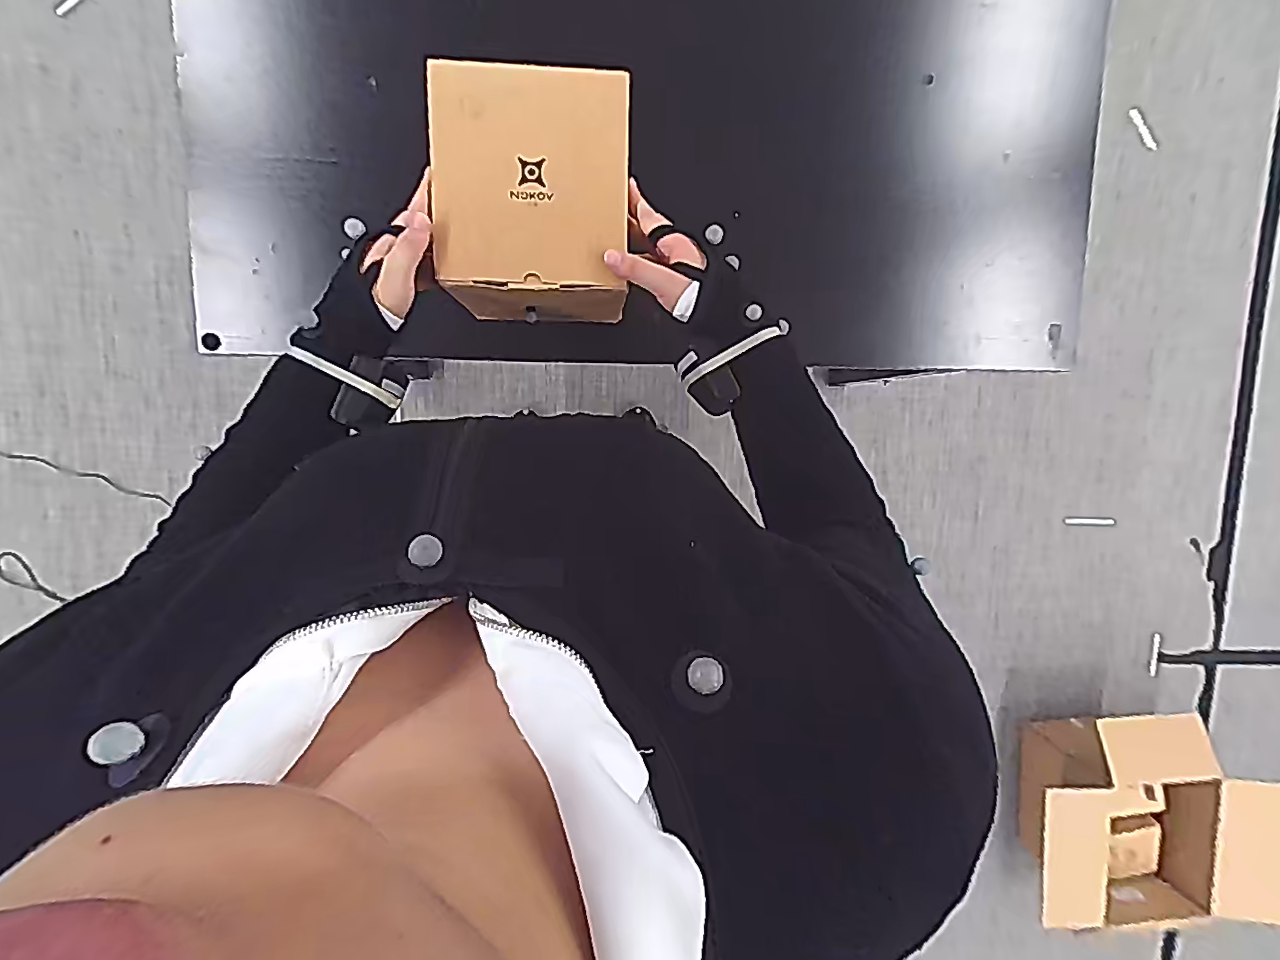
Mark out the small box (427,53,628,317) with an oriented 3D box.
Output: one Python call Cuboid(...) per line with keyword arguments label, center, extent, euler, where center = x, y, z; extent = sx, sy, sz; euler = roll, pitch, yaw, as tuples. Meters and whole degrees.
Cuboid(label="small box", center=(-0.101, -0.267, 0.531), extent=(0.168, 0.176, 0.179), euler=(0, 98, -5))
